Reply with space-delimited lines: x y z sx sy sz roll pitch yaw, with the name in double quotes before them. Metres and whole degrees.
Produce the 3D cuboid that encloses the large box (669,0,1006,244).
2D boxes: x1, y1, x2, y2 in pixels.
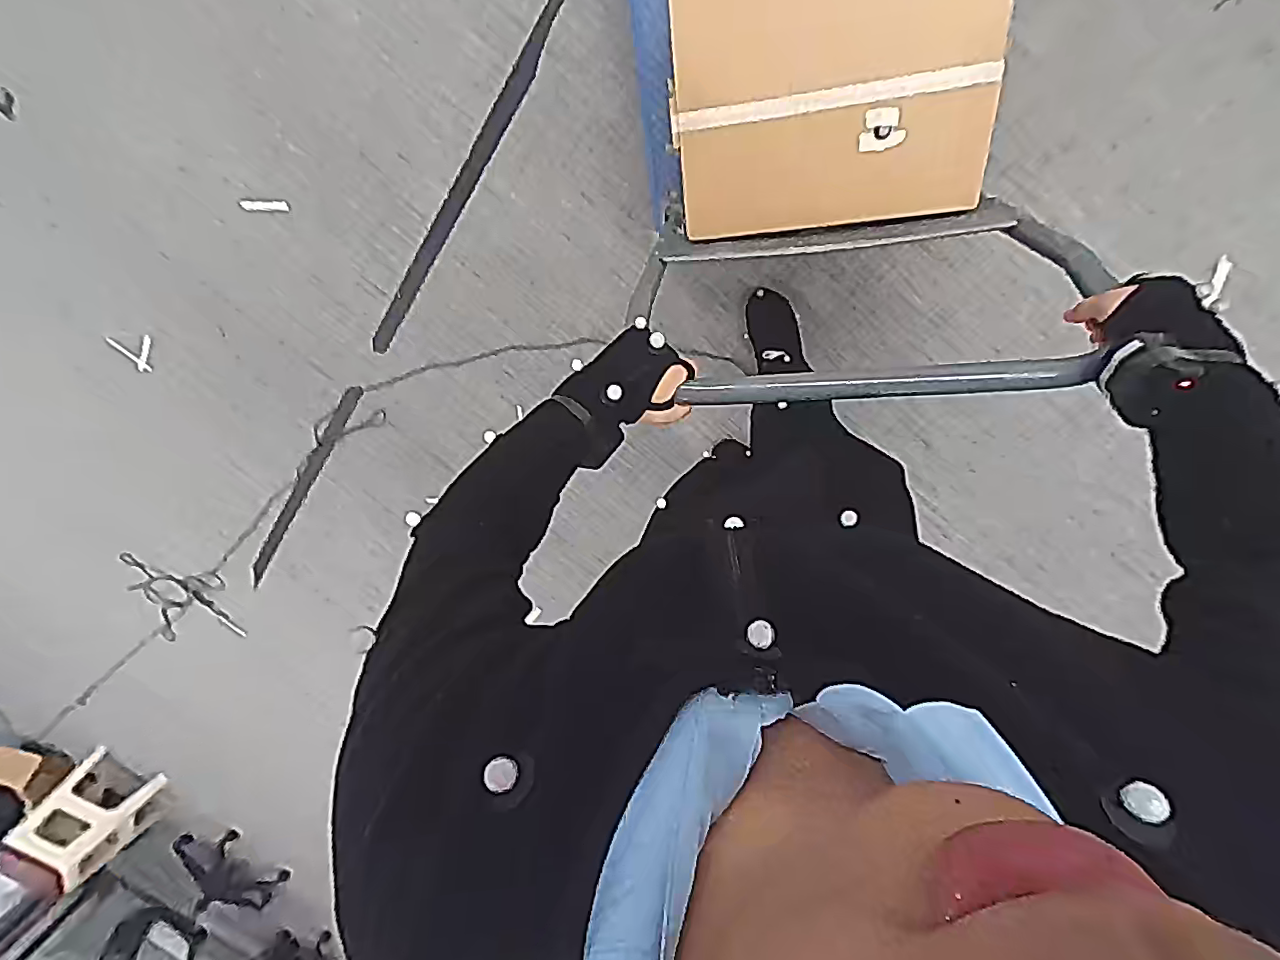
"large box" 0.271 -0.580 0.843 0.408 0.320 0.320 -2 123 11
